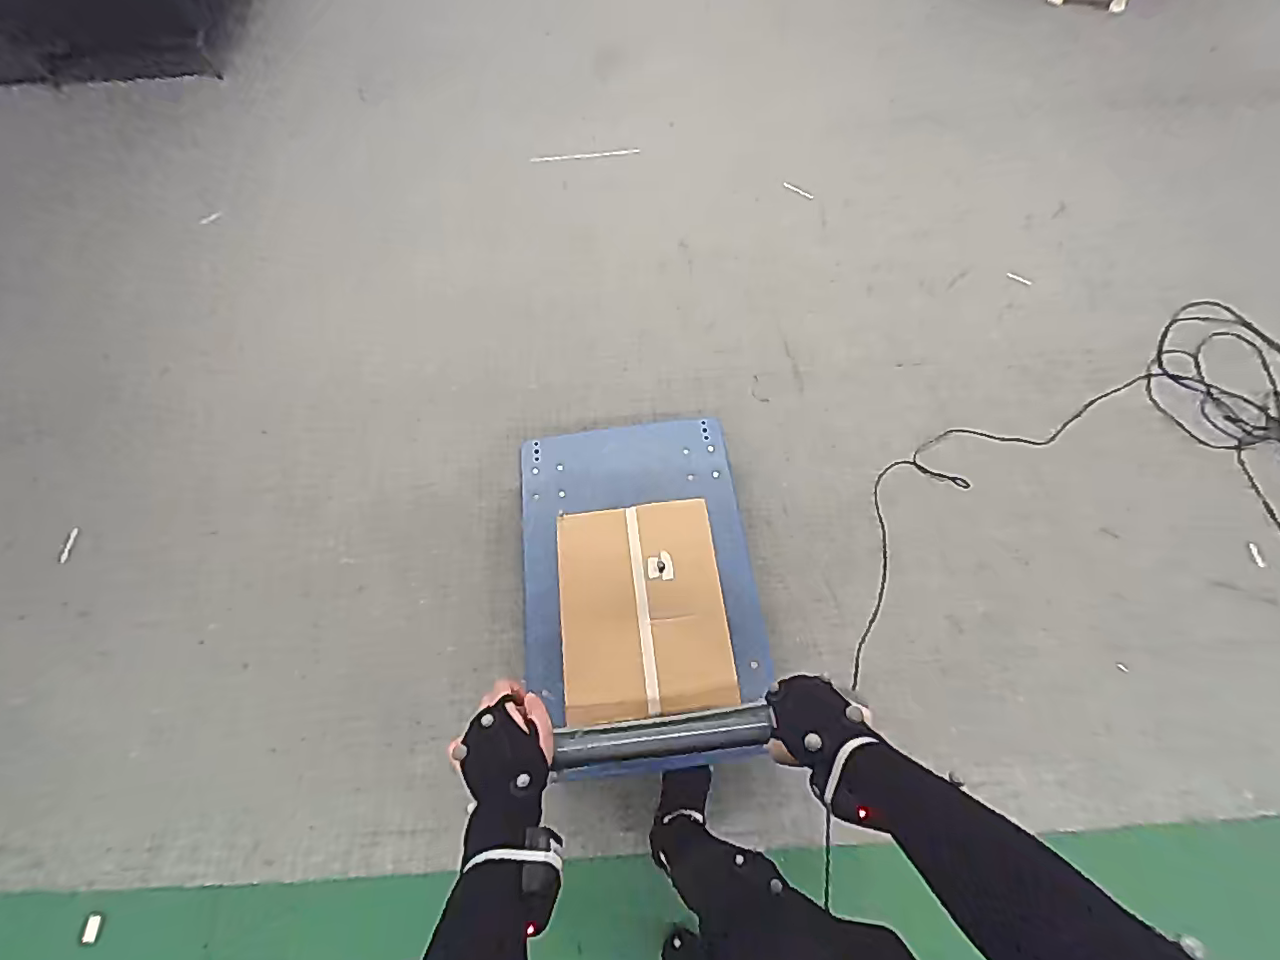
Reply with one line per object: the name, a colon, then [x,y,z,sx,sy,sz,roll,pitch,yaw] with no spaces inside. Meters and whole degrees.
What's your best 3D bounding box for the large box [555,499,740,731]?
large box: [0.009,0.302,1.171,0.320,0.320,0.408,-7,64,-1]
